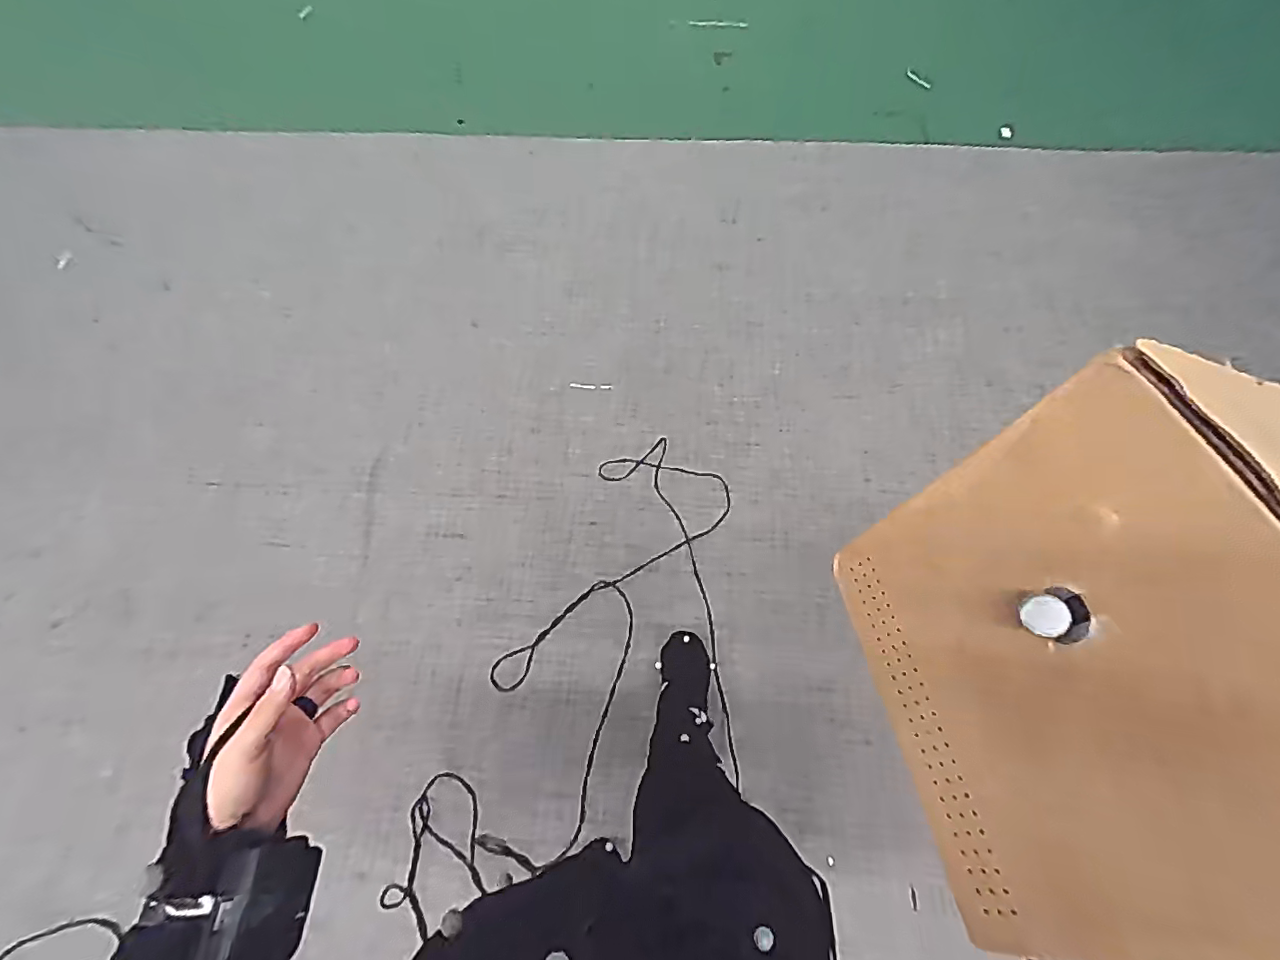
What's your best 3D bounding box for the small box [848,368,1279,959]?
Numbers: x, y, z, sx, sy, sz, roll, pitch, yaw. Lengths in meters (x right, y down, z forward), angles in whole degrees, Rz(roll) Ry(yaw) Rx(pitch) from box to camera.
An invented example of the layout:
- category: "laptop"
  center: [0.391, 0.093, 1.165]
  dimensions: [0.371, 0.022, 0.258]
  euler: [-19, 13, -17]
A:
- category: "small box"
  center: [0.227, 0.081, 0.237]
  dimensions: [0.168, 0.176, 0.179]
  euler: [4, 53, -22]
